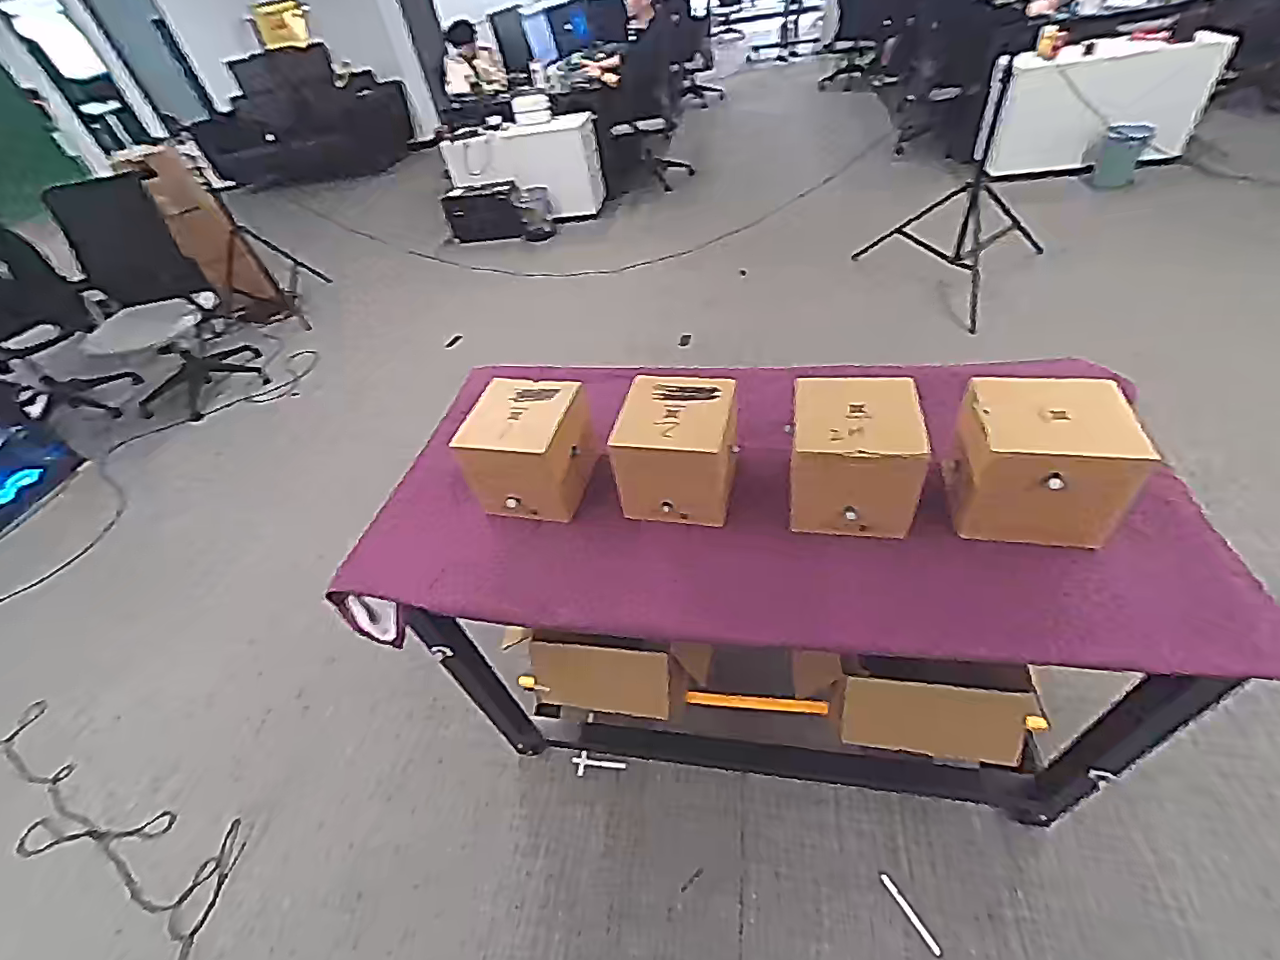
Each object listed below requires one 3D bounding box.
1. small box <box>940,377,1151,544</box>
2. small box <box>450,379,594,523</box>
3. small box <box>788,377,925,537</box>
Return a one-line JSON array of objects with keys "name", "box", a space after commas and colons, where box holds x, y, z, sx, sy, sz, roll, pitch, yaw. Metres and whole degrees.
[{"name": "small box", "box": [0.547, -0.027, 0.762, 0.179, 0.176, 0.168, 4, 45, 16]}, {"name": "small box", "box": [-0.188, -0.051, 0.929, 0.168, 0.176, 0.179, 5, 48, 16]}, {"name": "small box", "box": [0.313, -0.038, 0.818, 0.168, 0.176, 0.179, 2, 45, 15]}]
